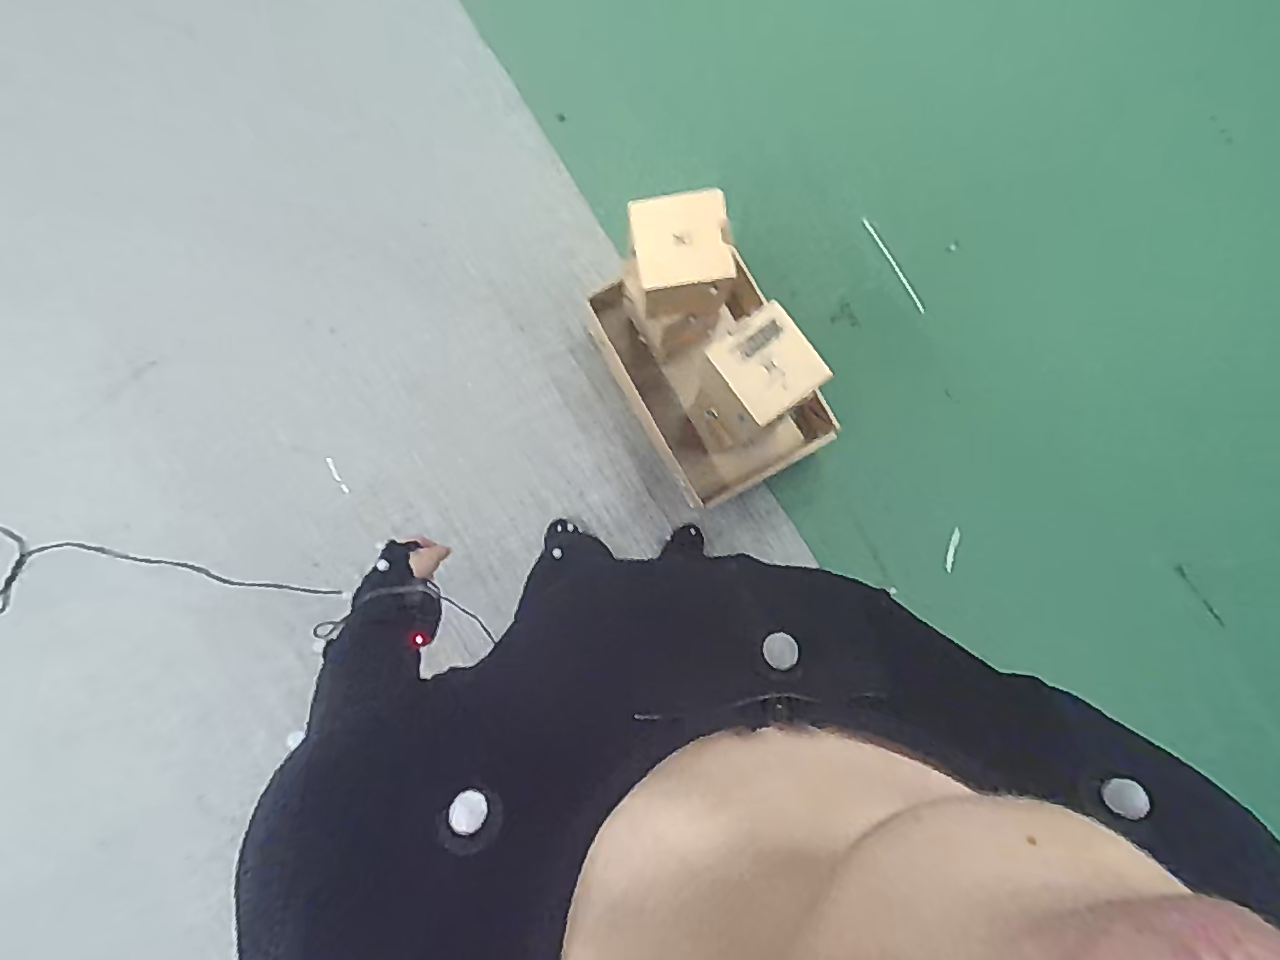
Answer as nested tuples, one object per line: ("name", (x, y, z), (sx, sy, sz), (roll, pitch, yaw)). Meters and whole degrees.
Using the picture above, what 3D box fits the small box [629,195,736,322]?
("small box", (0.076, -0.422, 1.057), (0.179, 0.176, 0.168), (-9, 88, -2))

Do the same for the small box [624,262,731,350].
("small box", (0.080, -0.420, 1.220), (0.179, 0.176, 0.168), (-30, 89, -3))

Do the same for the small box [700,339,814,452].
("small box", (0.251, -0.181, 1.212), (0.179, 0.176, 0.168), (-36, 85, 0))

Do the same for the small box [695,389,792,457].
("small box", (0.254, -0.171, 1.375), (0.179, 0.176, 0.168), (-26, 86, -2))
